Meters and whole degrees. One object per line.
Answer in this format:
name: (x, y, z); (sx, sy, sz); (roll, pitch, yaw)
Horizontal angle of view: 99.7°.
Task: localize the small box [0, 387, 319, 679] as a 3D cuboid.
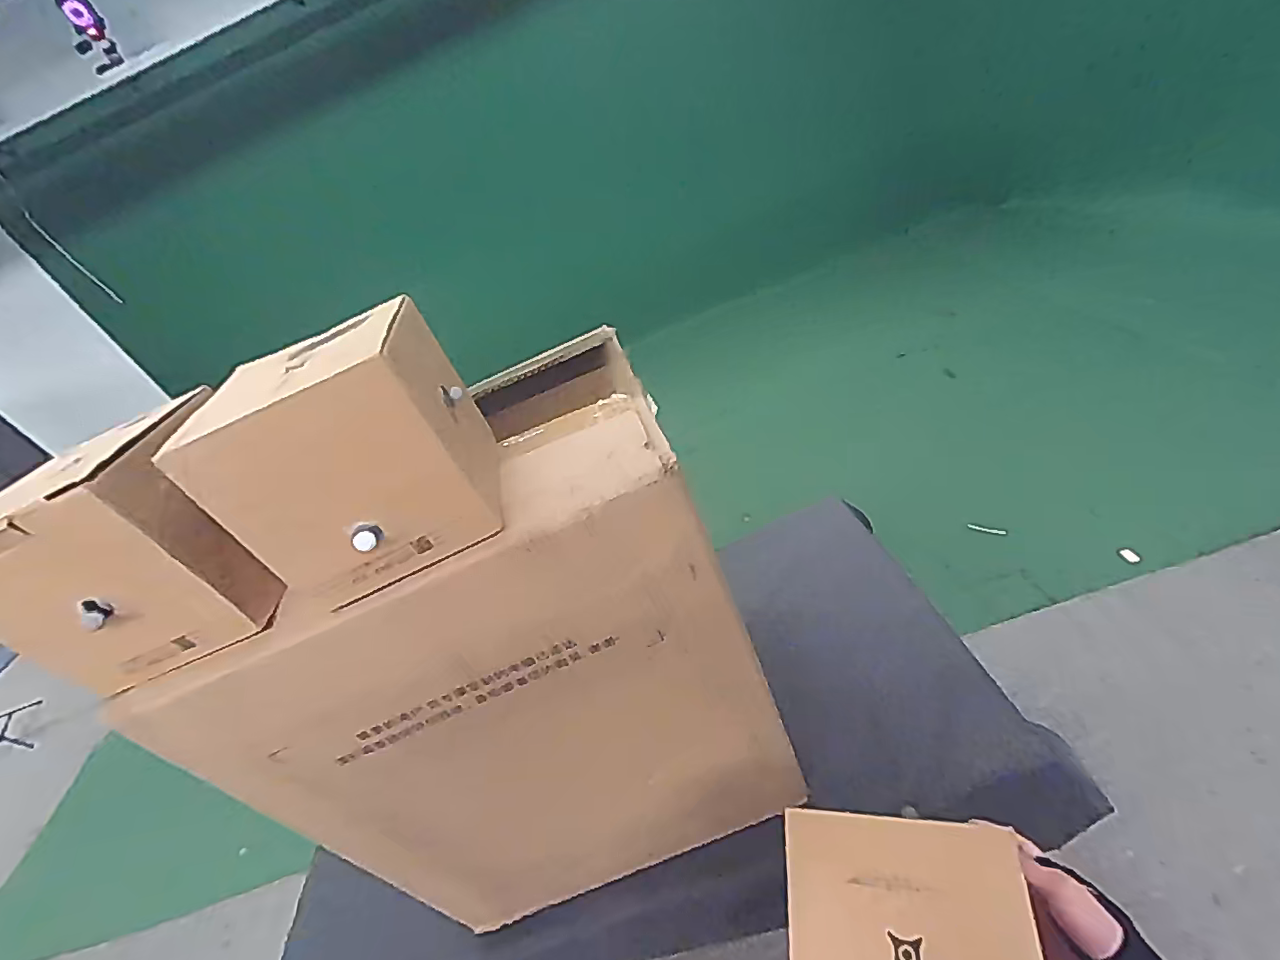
small box: (-0.432, 0.051, 0.484); (0.168, 0.176, 0.179); (-23, 34, 5)
